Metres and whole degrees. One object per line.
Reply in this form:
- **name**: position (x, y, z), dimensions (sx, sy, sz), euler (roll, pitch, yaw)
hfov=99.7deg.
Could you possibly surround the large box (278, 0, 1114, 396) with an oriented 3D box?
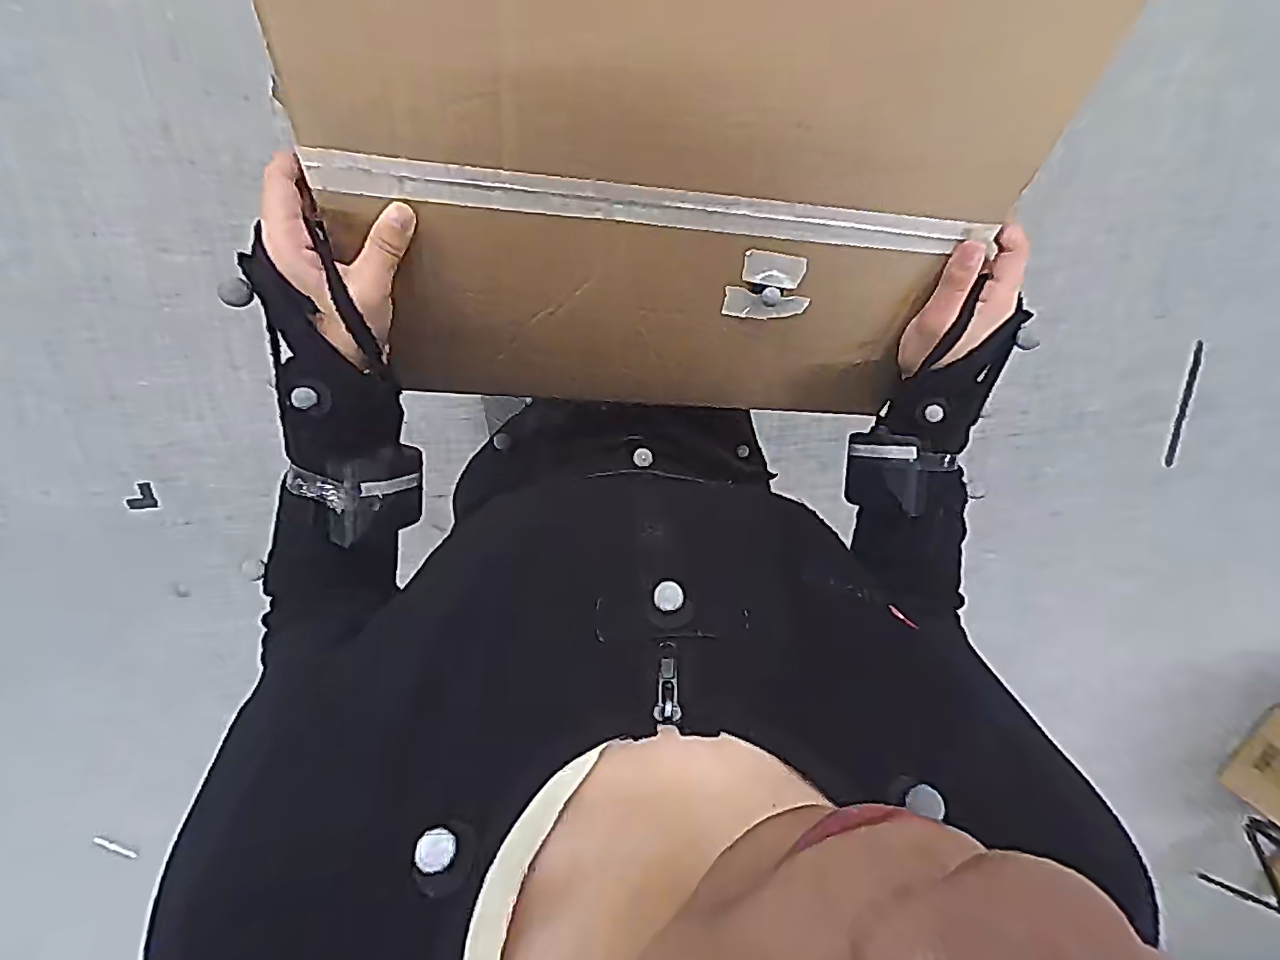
- **large box**: position (0.009, -0.283, 0.417), dimensions (0.408, 0.320, 0.320), euler (0, 142, -10)
